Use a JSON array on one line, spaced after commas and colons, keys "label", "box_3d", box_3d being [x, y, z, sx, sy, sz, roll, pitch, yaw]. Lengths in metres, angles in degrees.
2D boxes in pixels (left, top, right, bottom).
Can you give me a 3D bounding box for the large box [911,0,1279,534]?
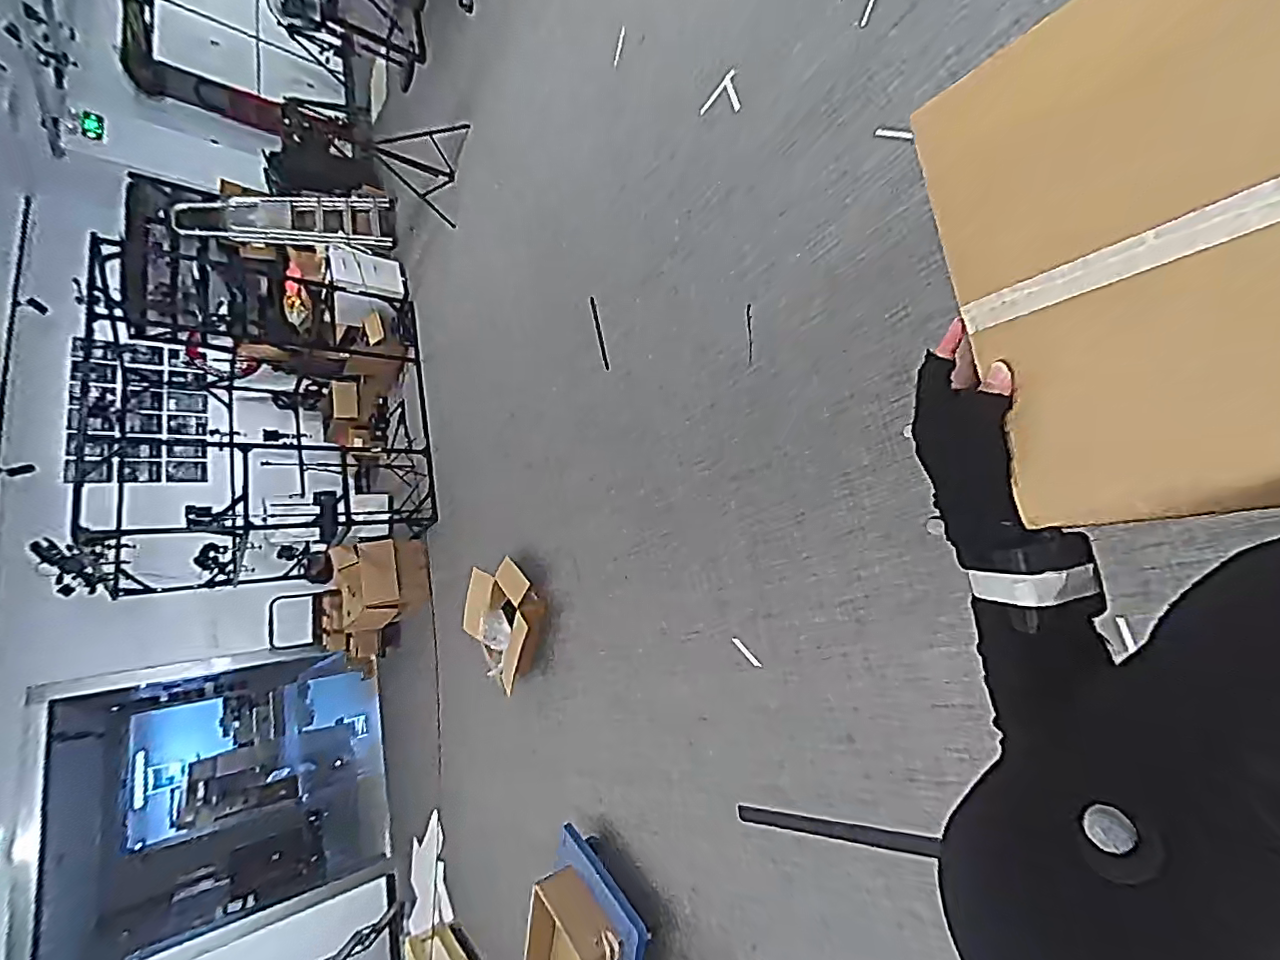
[{"label": "large box", "box_3d": [0.474, -0.171, 0.343, 0.408, 0.320, 0.320, -18, 84, 51]}]
